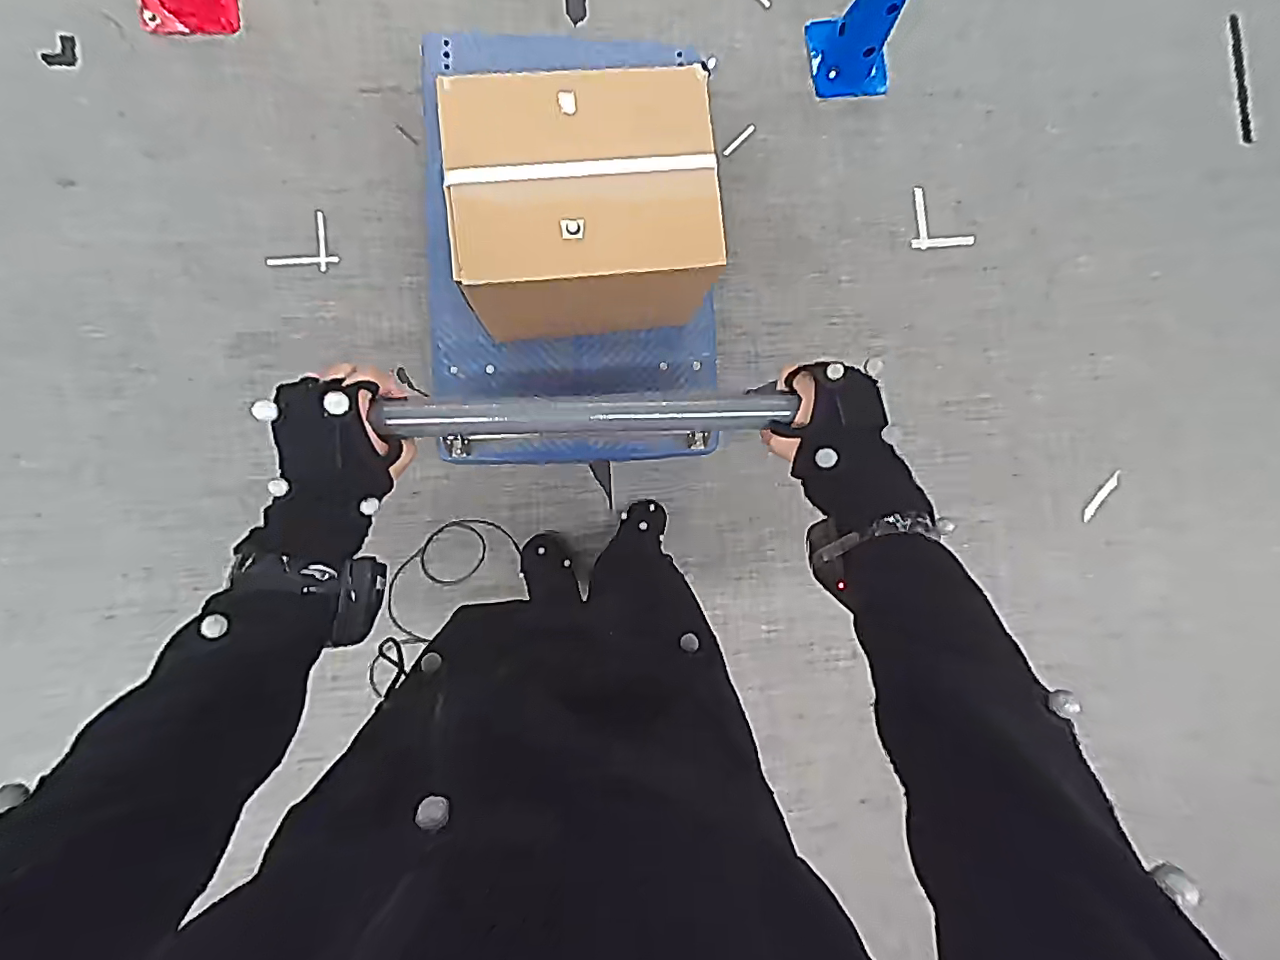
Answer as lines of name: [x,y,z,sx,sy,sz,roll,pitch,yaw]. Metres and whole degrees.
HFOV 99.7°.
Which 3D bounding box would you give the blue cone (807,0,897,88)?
blue cone: [0.542,-1.093,1.207,0.193,0.380,0.192,-8,88,-7]
